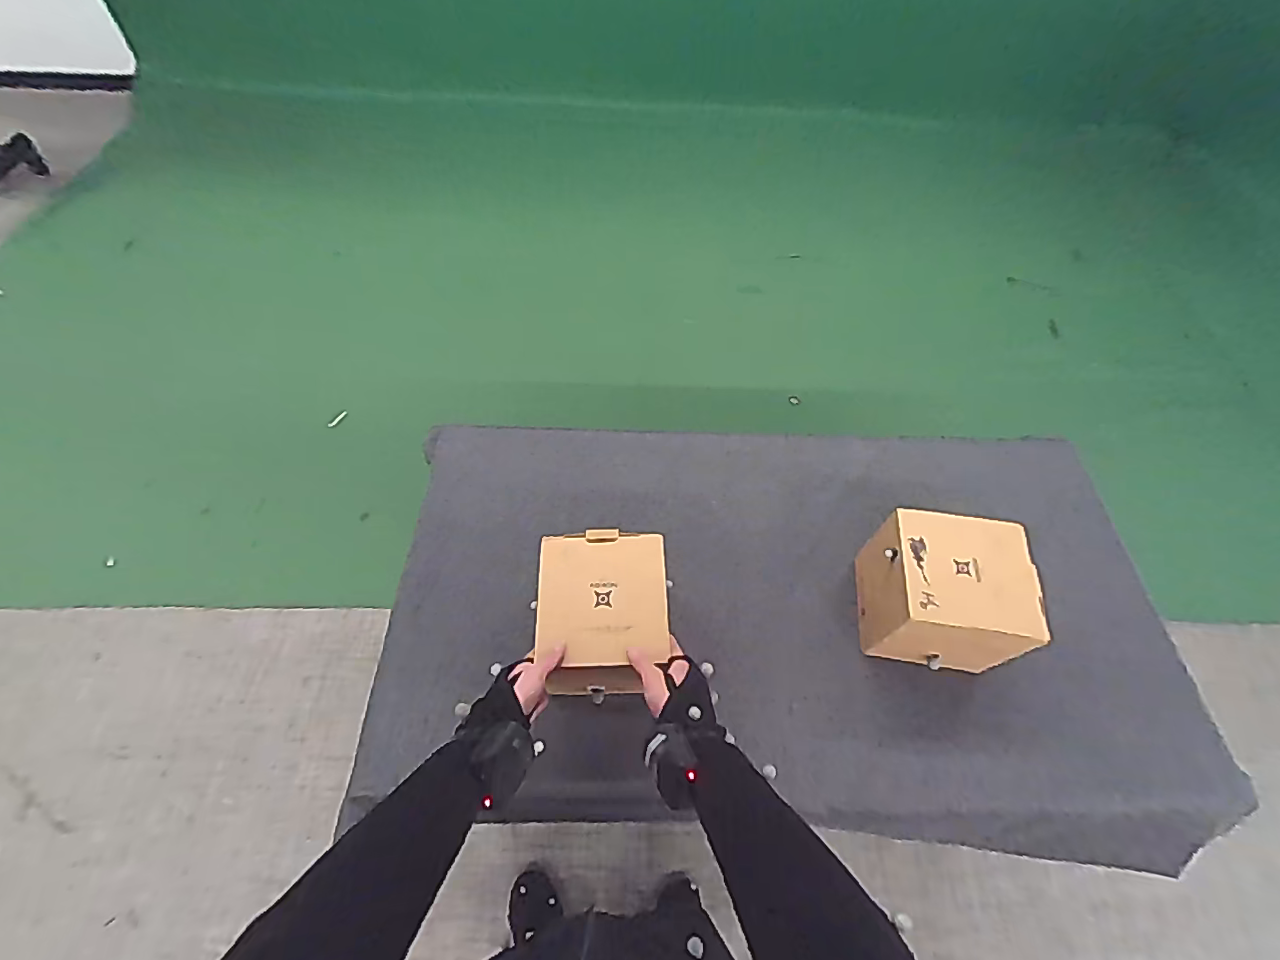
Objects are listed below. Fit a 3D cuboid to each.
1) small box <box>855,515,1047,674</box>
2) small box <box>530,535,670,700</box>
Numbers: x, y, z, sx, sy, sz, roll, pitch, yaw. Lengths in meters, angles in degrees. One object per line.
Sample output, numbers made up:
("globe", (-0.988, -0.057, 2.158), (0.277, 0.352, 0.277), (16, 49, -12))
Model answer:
("small box", (0.433, 0.173, 0.786), (0.179, 0.176, 0.168), (9, 58, 3))
("small box", (-0.047, 0.191, 0.737), (0.168, 0.176, 0.179), (0, 57, 0))
